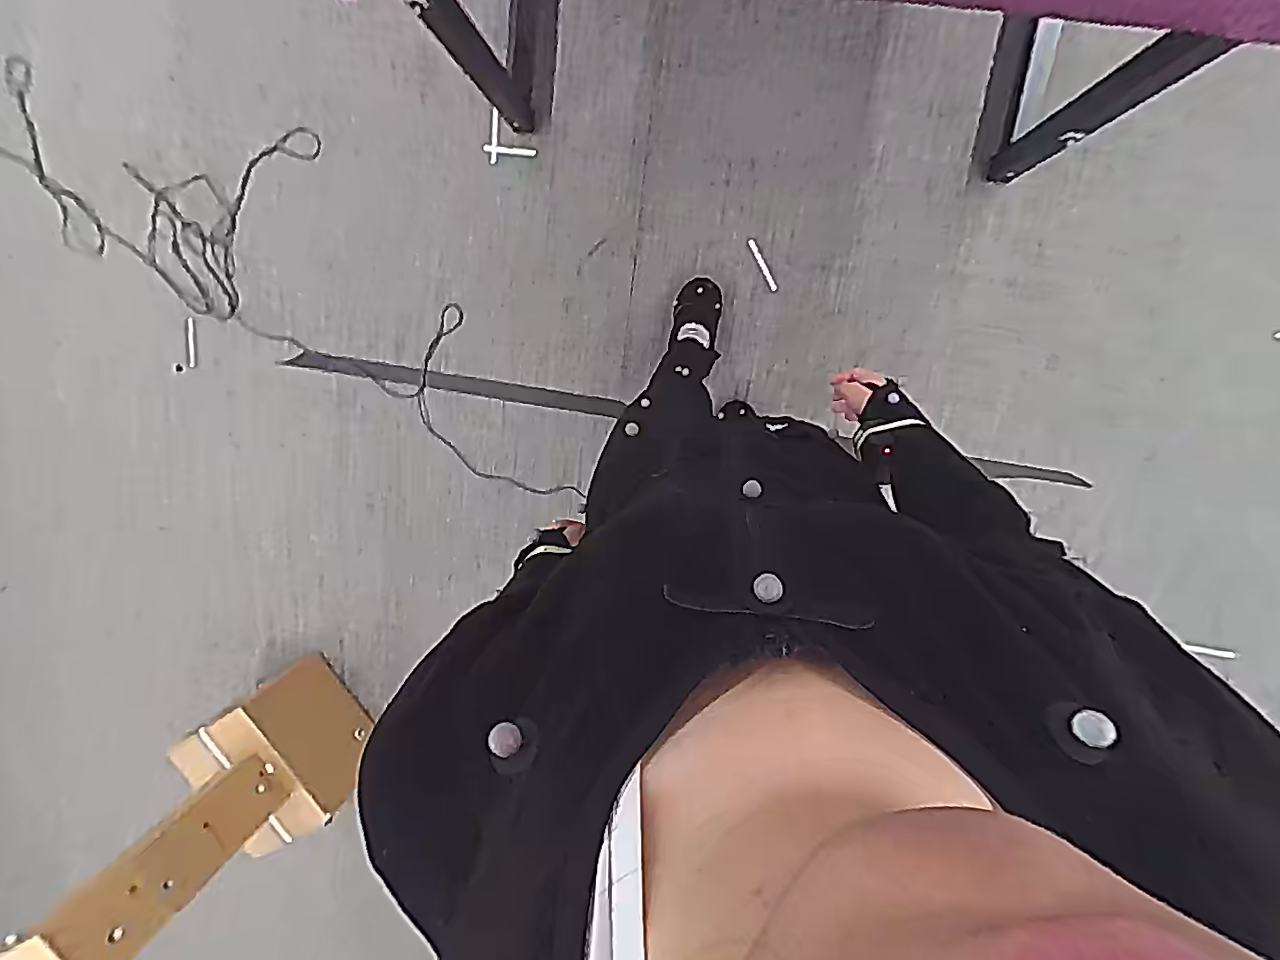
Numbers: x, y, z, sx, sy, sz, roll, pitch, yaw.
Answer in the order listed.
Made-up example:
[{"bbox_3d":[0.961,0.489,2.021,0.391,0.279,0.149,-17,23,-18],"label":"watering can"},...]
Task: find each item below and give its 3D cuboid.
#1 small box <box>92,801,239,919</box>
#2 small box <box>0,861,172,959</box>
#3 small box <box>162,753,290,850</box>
[{"bbox_3d":[-1.108,0.908,1.274,0.179,0.176,0.168,-32,97,13],"label":"small box"},{"bbox_3d":[-1.128,0.938,1.115,0.179,0.176,0.168,-32,97,13],"label":"small box"},{"bbox_3d":[-1.086,0.872,1.433,0.179,0.176,0.168,-32,97,12],"label":"small box"}]
